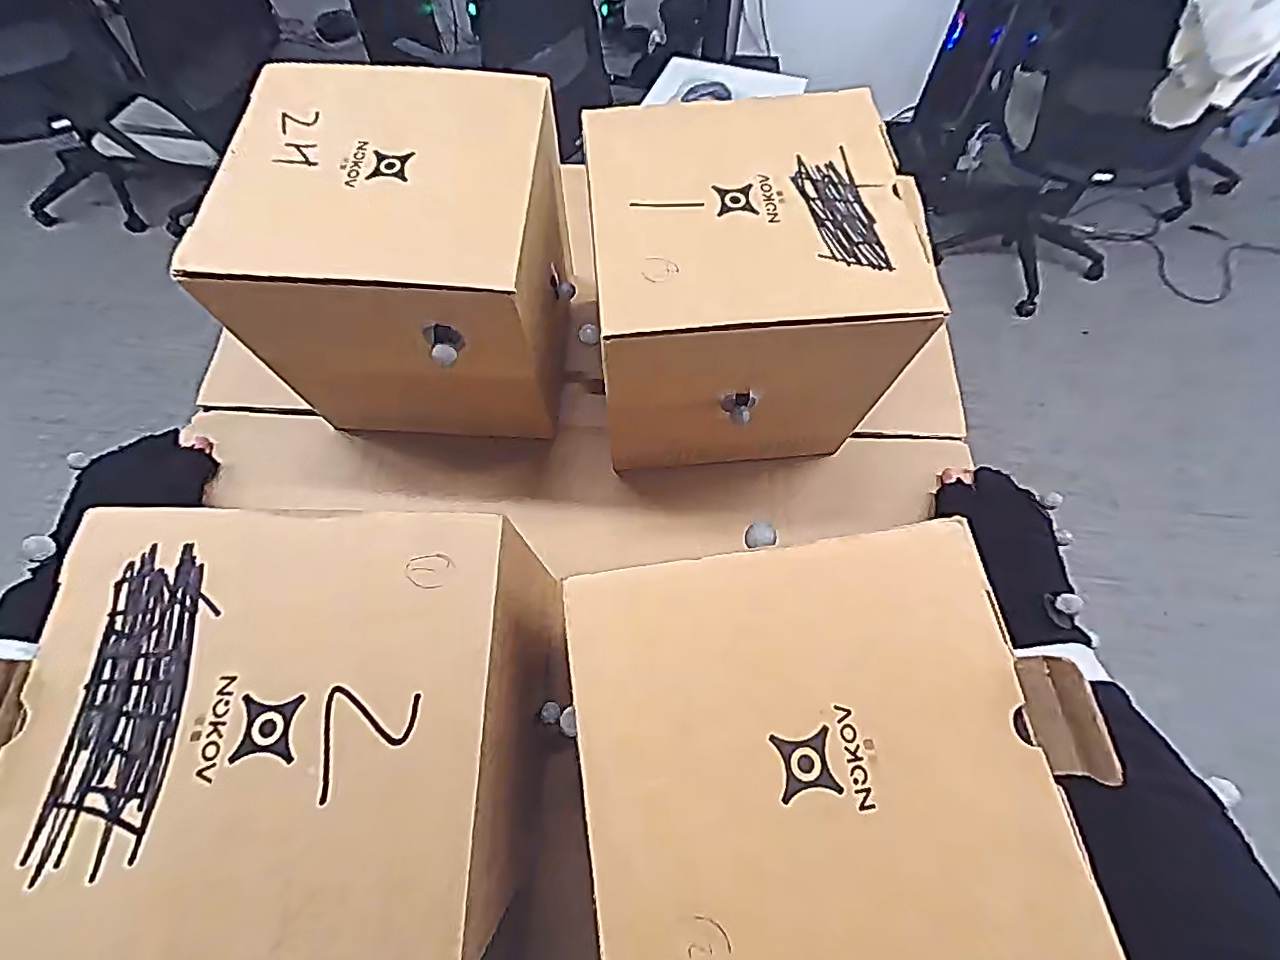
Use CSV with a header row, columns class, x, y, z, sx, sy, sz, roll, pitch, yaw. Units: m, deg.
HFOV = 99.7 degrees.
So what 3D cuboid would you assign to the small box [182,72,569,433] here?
class,x,y,z,sx,sy,sz,roll,pitch,yaw
small box,-0.150,-0.144,0.385,0.179,0.176,0.168,3,68,1
